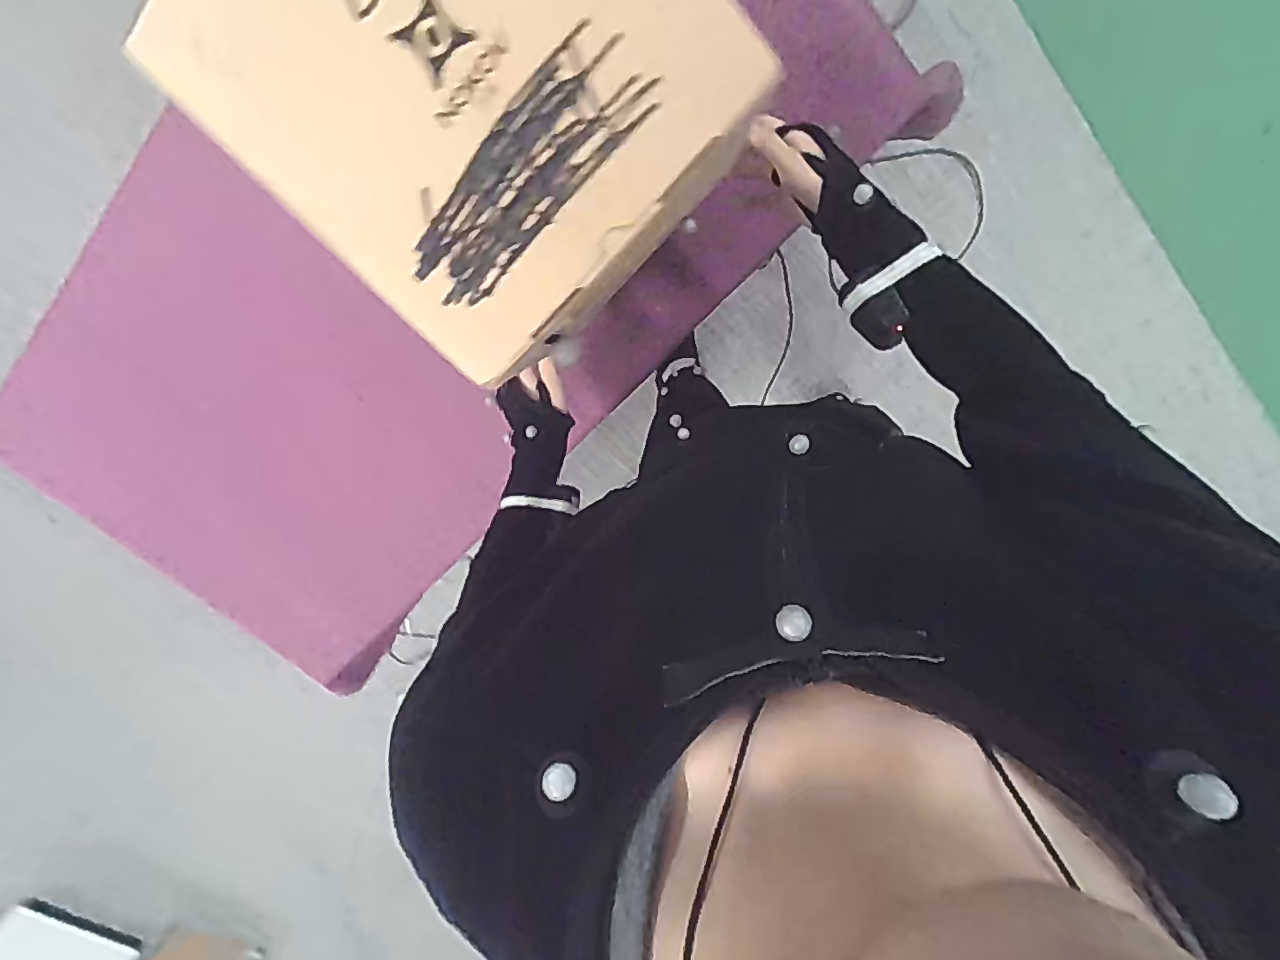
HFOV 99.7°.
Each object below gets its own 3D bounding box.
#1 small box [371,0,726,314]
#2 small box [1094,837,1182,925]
[{"bbox_3d":[-0.059,-0.257,0.424,0.168,0.176,0.179,44,106,-13],"label":"small box"},{"bbox_3d":[1.641,1.321,1.763,0.168,0.176,0.179,41,105,-13],"label":"small box"}]
